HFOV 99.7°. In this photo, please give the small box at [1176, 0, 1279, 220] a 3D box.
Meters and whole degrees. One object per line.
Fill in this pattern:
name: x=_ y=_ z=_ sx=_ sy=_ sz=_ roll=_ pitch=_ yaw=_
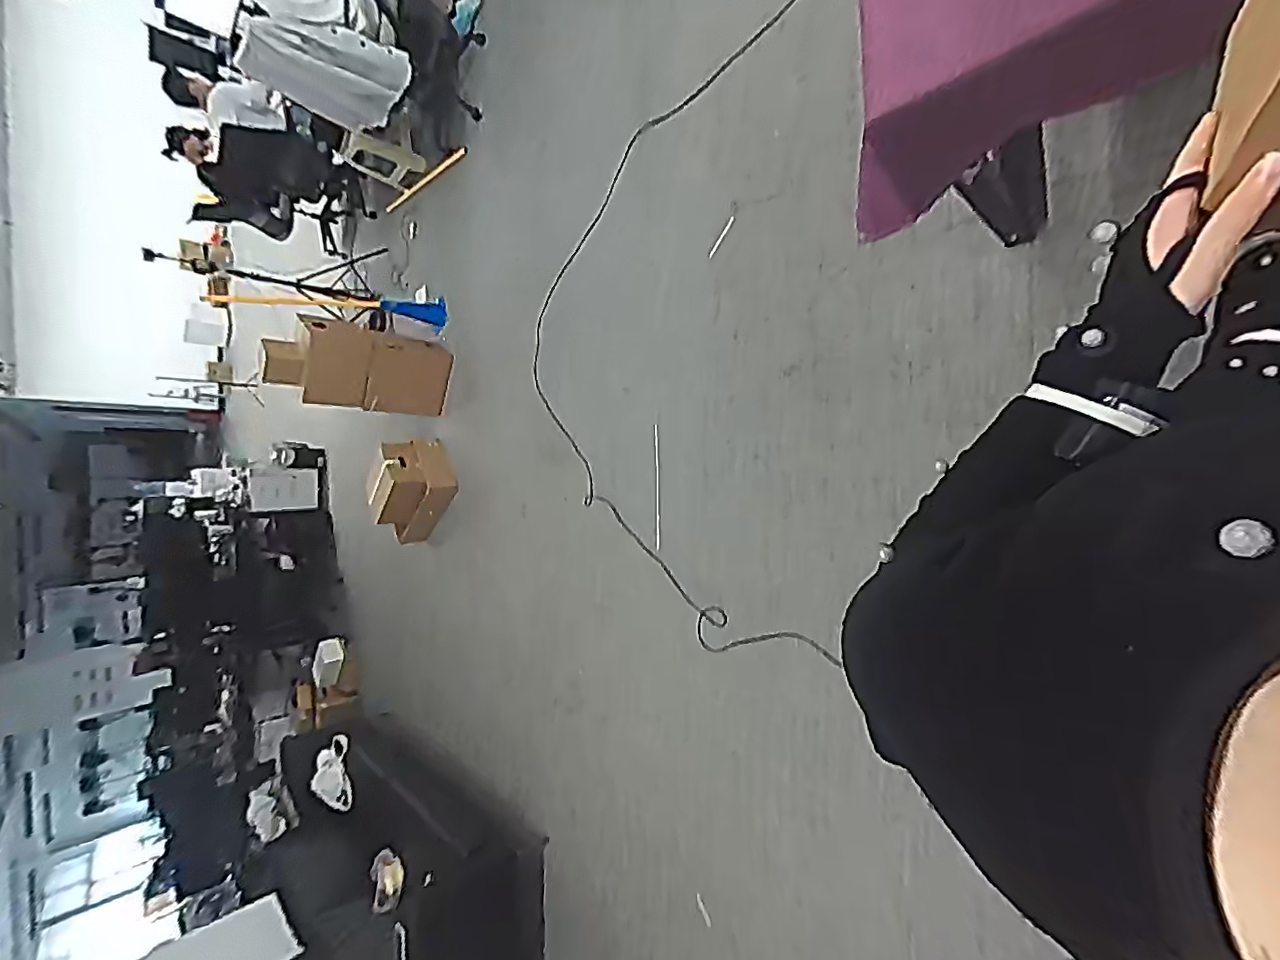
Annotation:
small box: x=0.435 y=-0.261 z=0.274 sx=0.179 sy=0.168 sz=0.176 roll=16 pitch=81 yaw=31
